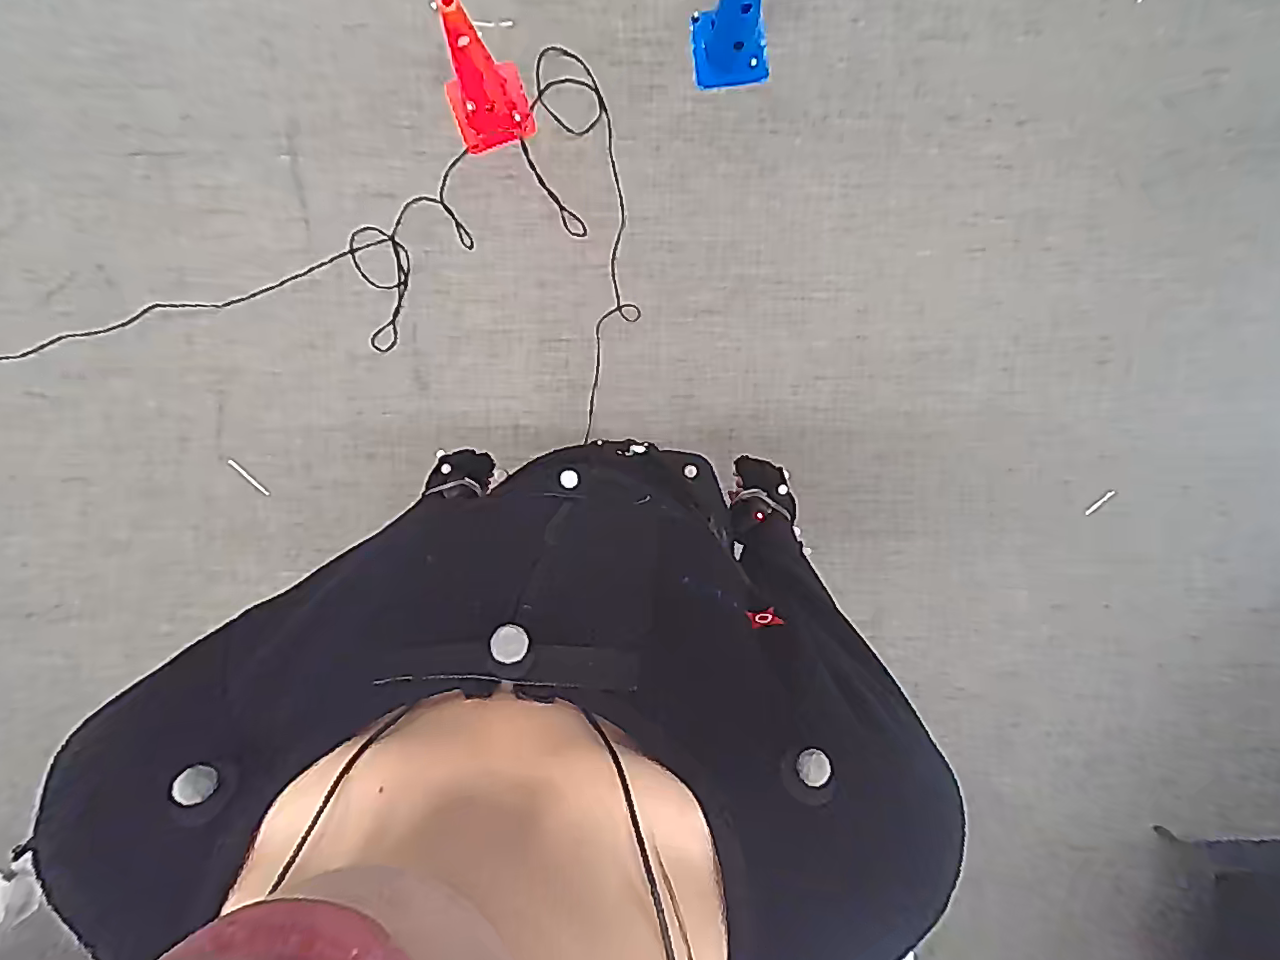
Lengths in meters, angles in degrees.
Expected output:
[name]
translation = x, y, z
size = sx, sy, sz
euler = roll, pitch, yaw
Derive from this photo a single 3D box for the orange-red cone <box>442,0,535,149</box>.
[orange-red cone]
translation = -0.393, -0.991, 1.268
size = 0.198, 0.360, 0.199
euler = -19, 92, -1
